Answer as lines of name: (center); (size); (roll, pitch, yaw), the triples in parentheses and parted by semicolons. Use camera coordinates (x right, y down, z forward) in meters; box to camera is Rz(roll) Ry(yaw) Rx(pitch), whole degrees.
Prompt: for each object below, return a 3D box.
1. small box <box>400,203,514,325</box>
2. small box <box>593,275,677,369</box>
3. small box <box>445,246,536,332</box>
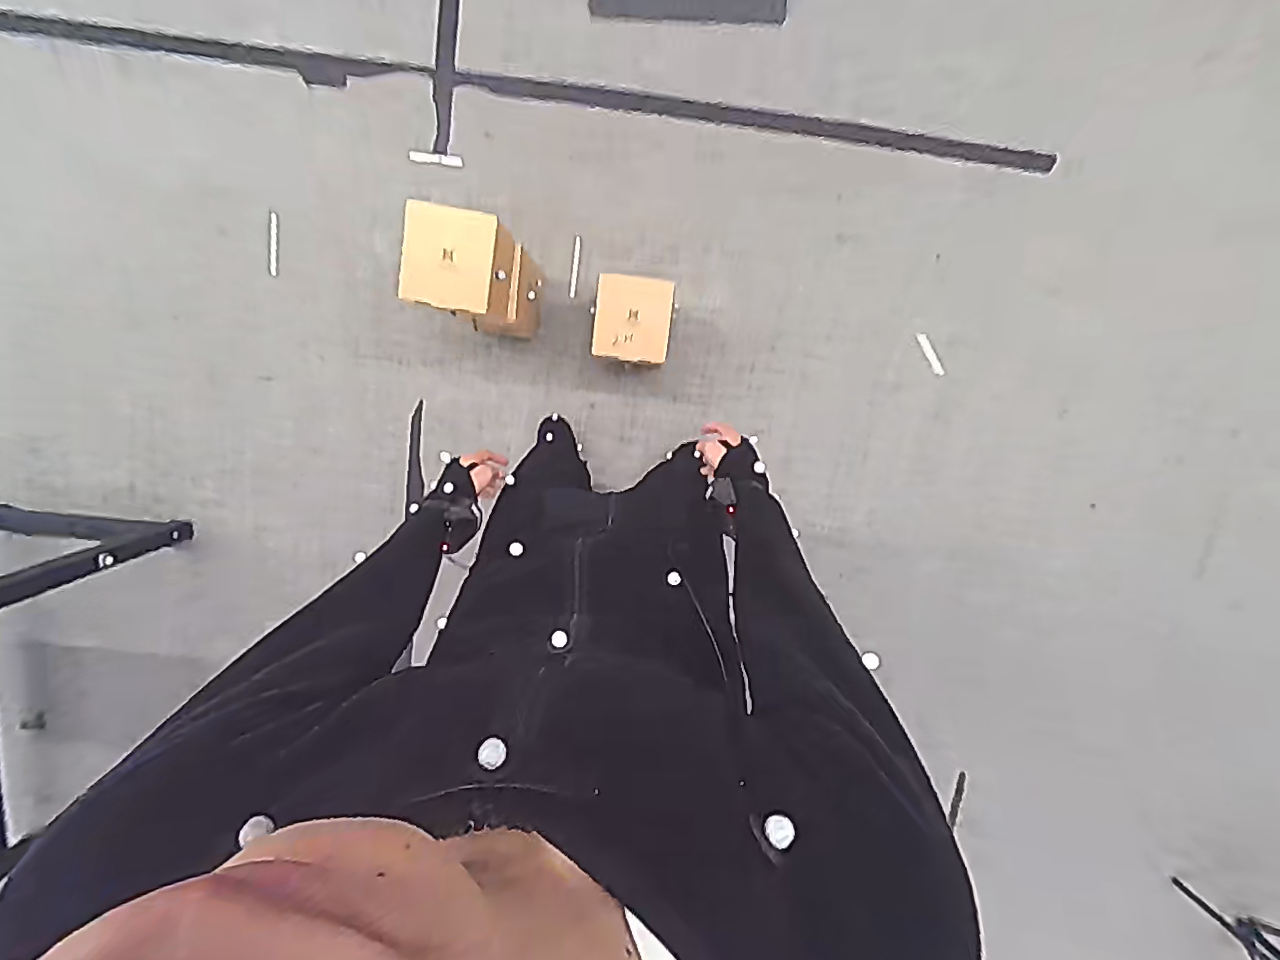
small box: (-0.351, -0.414, 1.064); (0.168, 0.176, 0.179); (9, 100, -3)
small box: (-0.013, -0.356, 1.247); (0.168, 0.176, 0.179); (7, 100, -1)
small box: (-0.344, -0.436, 1.225); (0.179, 0.176, 0.168); (7, 100, -3)
